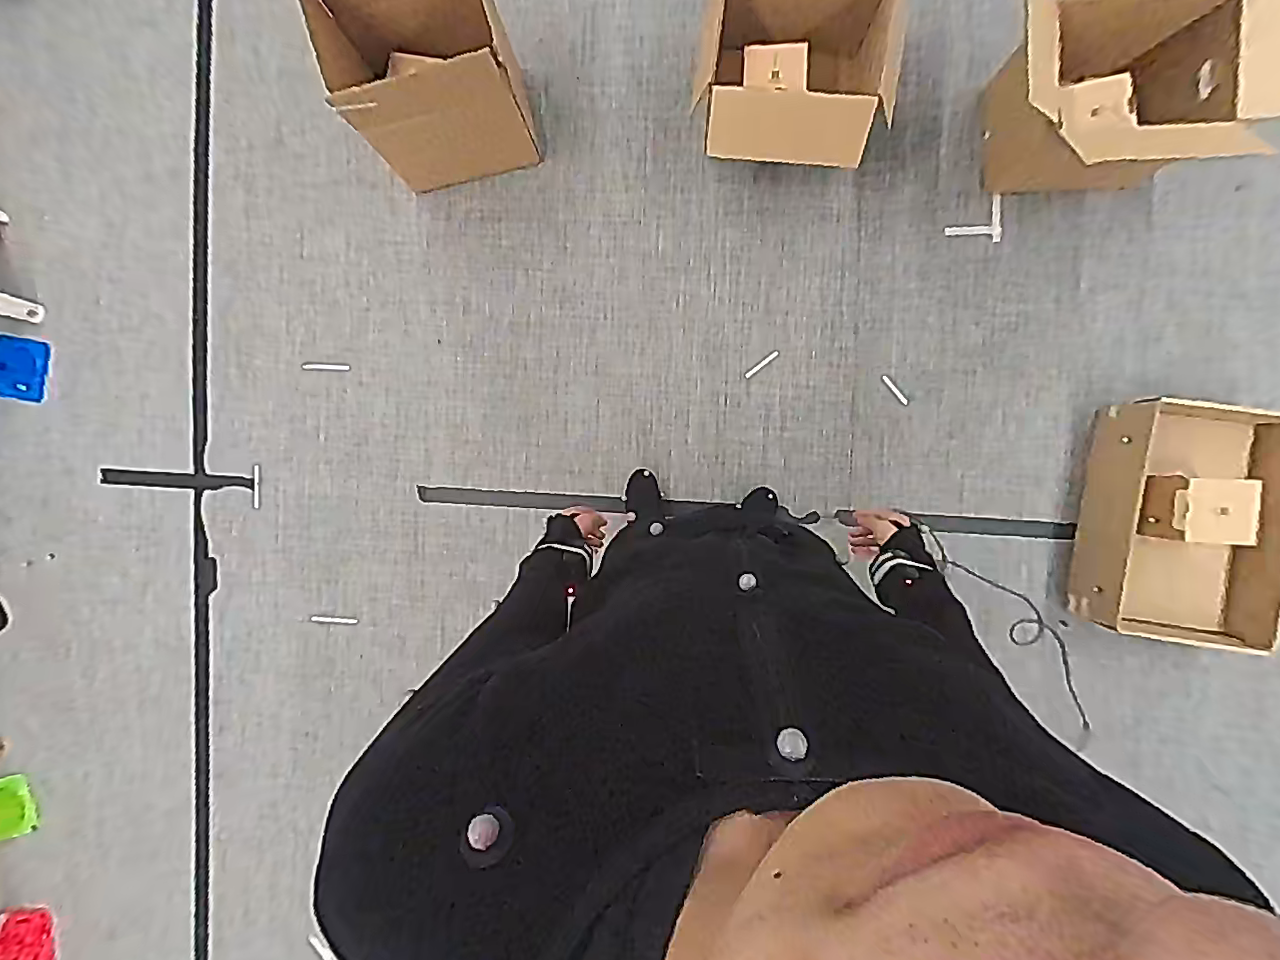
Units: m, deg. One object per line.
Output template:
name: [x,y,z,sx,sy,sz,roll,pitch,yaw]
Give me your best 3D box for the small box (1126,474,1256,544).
small box: [1.446,0.072,1.430,0.179,0.176,0.168,3,93,3]
